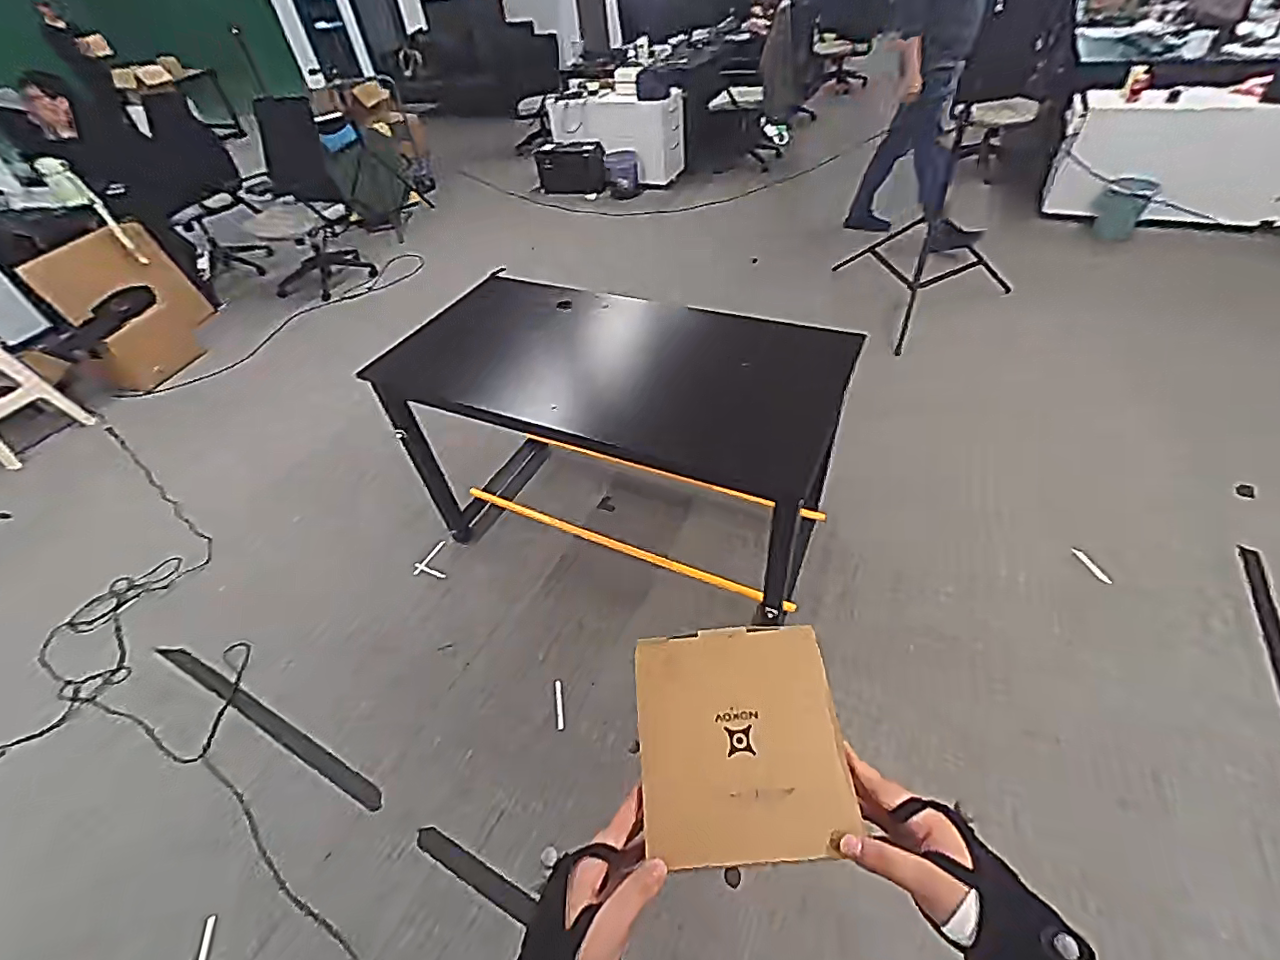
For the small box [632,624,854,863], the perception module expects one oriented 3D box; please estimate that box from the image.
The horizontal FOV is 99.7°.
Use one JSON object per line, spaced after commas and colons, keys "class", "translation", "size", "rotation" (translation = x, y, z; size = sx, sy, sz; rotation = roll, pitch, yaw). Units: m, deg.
{"class": "small box", "translation": [0.081, 0.257, 0.519], "size": [0.168, 0.176, 0.179], "rotation": [-5, 55, 2]}
